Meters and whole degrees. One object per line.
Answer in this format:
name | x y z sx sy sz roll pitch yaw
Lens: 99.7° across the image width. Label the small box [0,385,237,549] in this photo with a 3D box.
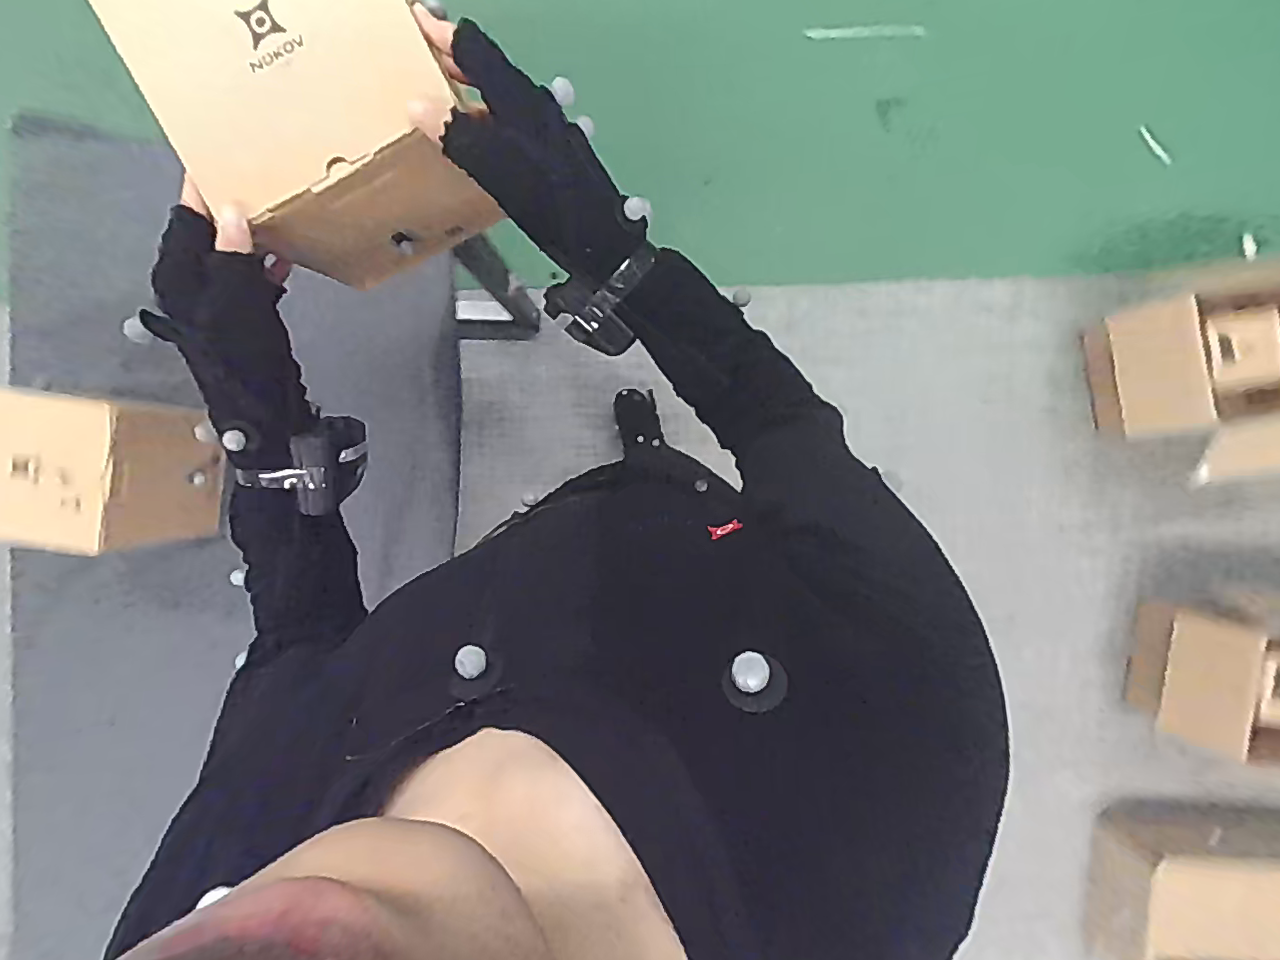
small box | -0.661 -0.017 0.679 0.179 0.176 0.168 8 93 0
